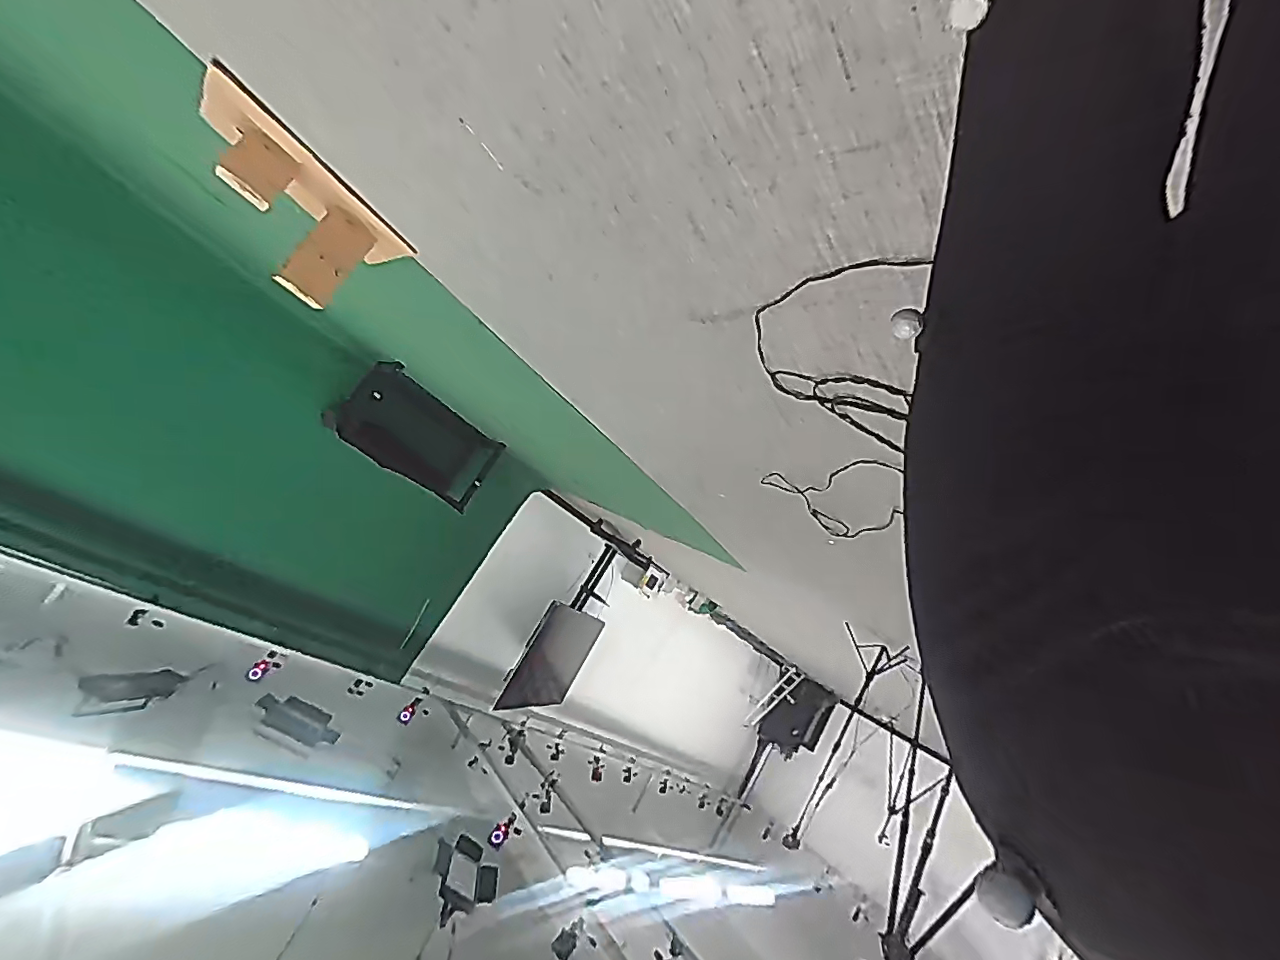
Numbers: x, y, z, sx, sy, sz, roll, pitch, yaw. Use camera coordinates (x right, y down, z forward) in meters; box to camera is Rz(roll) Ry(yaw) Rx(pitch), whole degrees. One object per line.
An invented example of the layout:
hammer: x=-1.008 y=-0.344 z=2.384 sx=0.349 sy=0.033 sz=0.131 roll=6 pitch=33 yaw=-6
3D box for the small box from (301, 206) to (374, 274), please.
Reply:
small box: x=-1.143 y=-0.903 z=2.046 sx=0.179 sy=0.176 sz=0.168 roll=18 pitch=164 yaw=48

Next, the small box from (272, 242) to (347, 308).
small box: x=-1.227 y=-0.765 z=2.016 sx=0.179 sy=0.176 sz=0.168 roll=21 pitch=165 yaw=47
